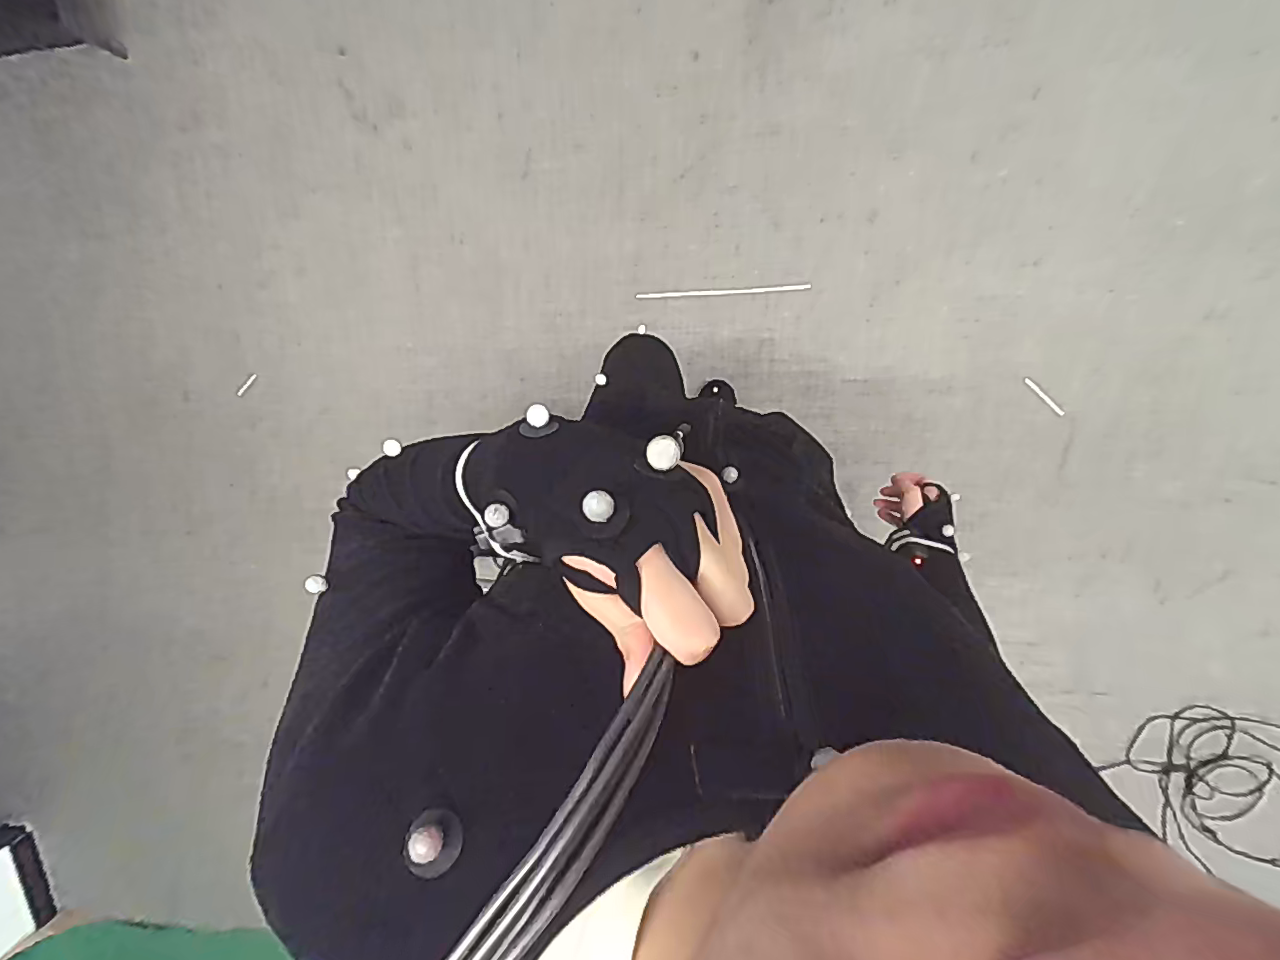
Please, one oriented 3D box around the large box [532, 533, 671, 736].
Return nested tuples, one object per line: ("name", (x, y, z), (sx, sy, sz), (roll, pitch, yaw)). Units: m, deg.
("large box", (-0.088, 0.379, 1.410), (0.320, 0.320, 0.408), (5, 103, 7))
